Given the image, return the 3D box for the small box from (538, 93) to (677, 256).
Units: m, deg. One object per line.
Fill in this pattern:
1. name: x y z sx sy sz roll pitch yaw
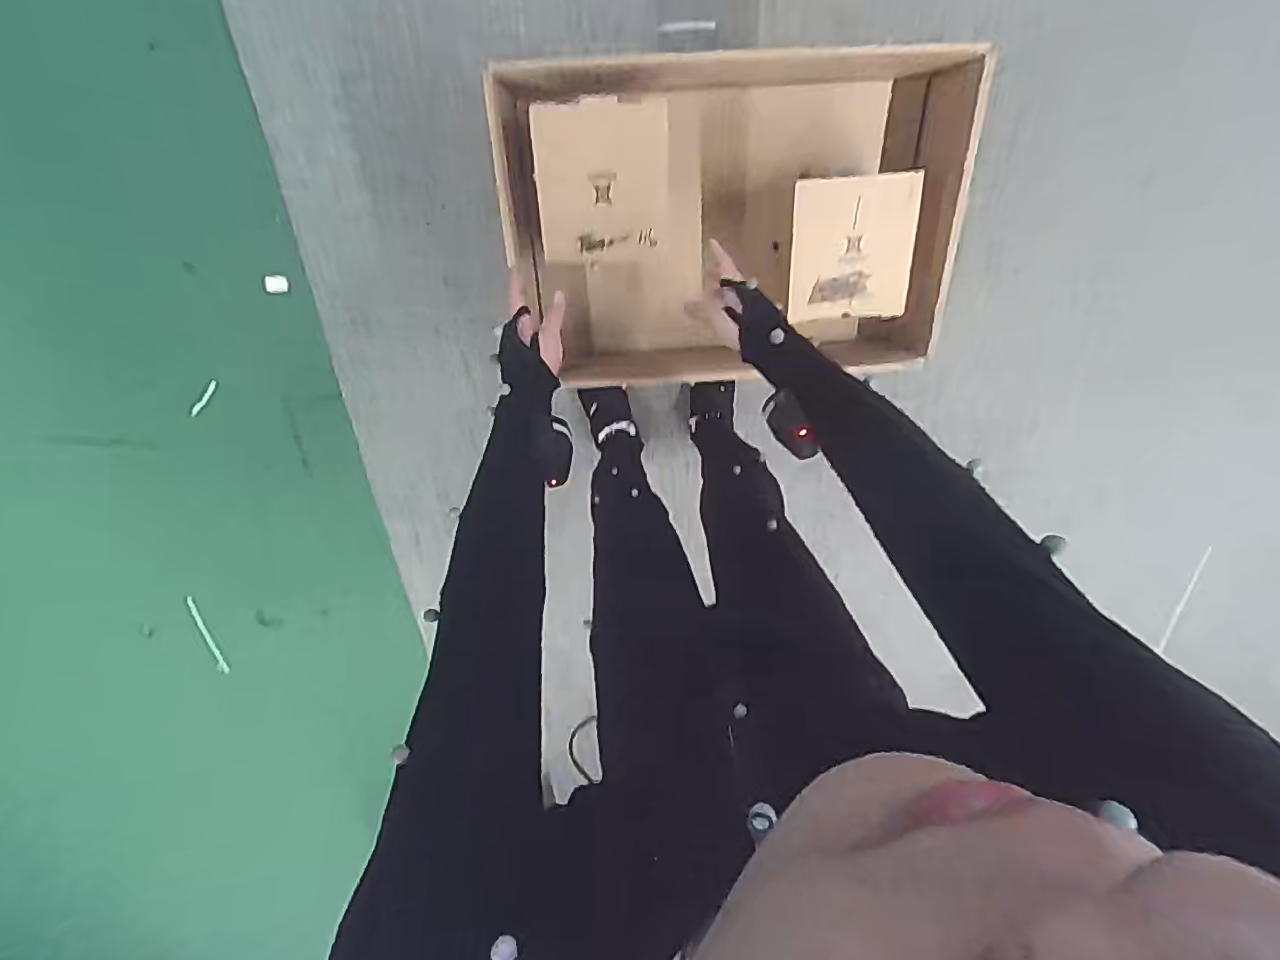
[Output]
1. small box: -0.042 -0.403 0.733 0.168 0.176 0.179 -2 117 -2
